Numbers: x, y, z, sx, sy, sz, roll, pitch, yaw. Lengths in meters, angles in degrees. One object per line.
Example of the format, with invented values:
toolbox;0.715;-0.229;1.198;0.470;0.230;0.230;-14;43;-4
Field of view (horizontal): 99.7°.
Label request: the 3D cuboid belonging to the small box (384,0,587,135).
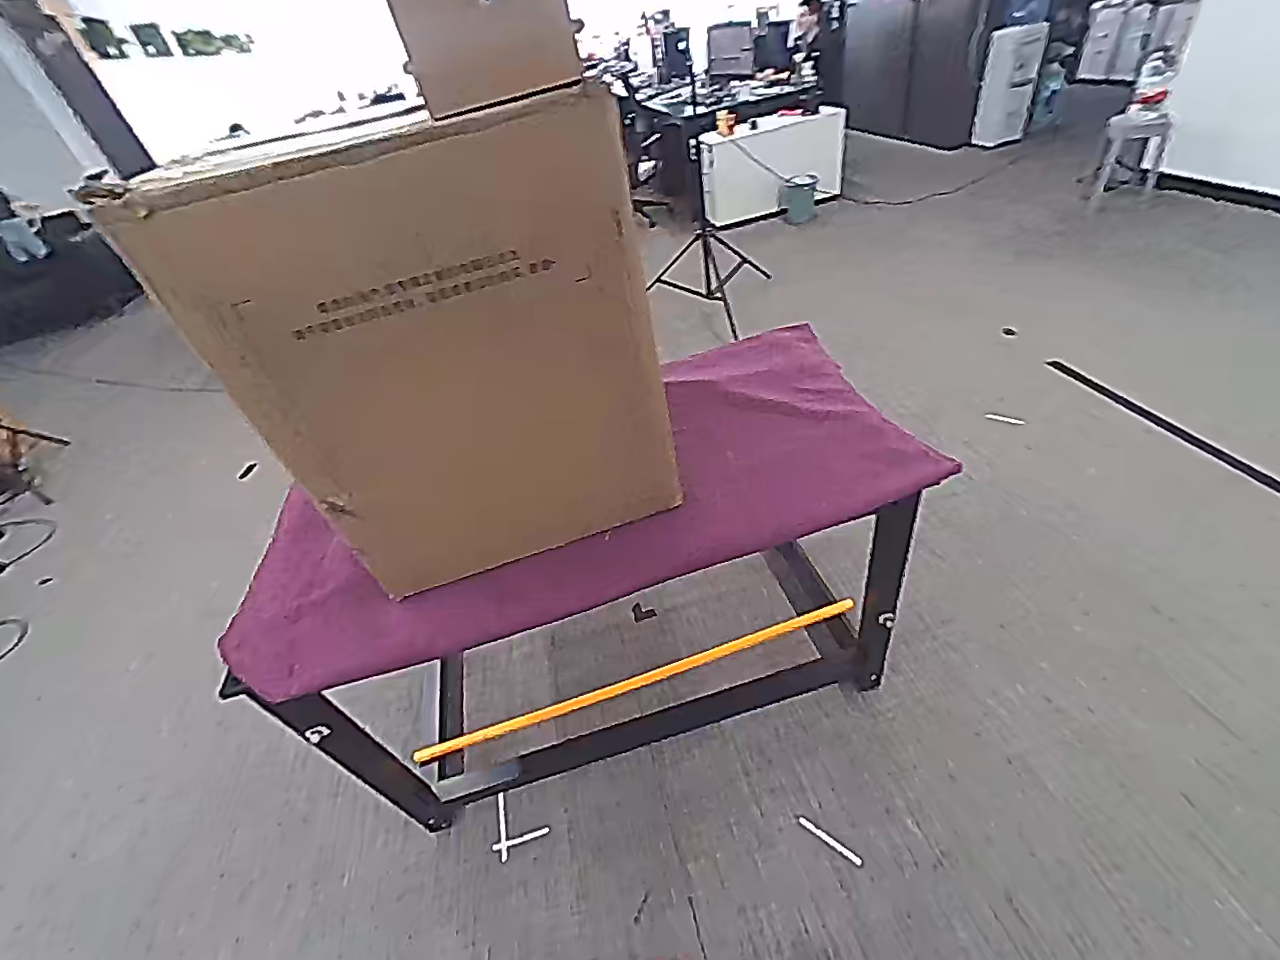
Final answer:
small box;-0.166;-0.485;0.560;0.168;0.176;0.179;-16;41;-3
